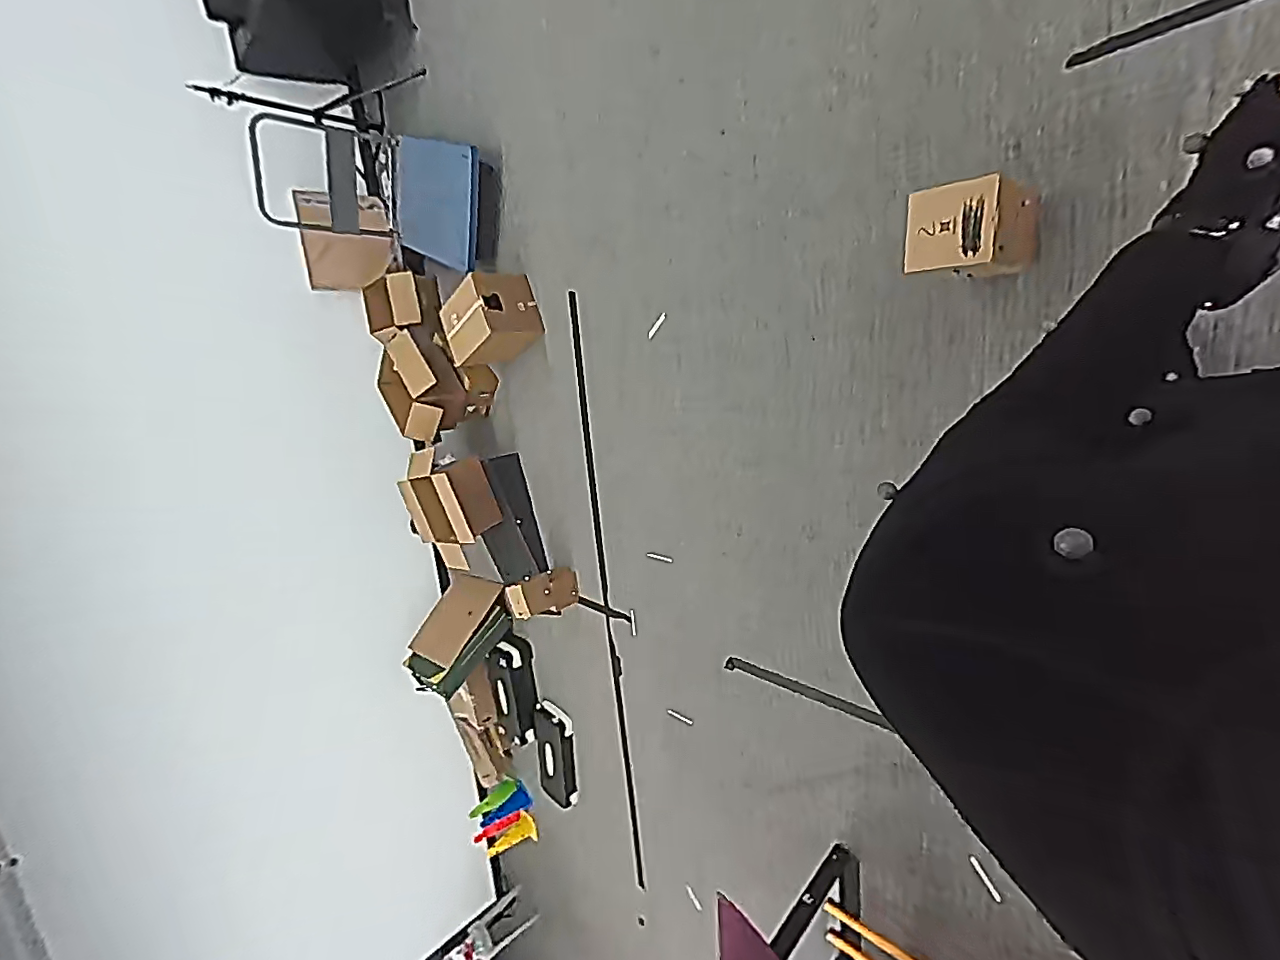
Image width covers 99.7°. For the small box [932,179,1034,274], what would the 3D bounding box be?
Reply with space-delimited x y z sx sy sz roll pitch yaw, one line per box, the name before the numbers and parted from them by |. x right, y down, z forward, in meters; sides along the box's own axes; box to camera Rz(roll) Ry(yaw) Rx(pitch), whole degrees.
small box | 0.817 -0.592 1.288 0.168 0.176 0.179 10 108 45
